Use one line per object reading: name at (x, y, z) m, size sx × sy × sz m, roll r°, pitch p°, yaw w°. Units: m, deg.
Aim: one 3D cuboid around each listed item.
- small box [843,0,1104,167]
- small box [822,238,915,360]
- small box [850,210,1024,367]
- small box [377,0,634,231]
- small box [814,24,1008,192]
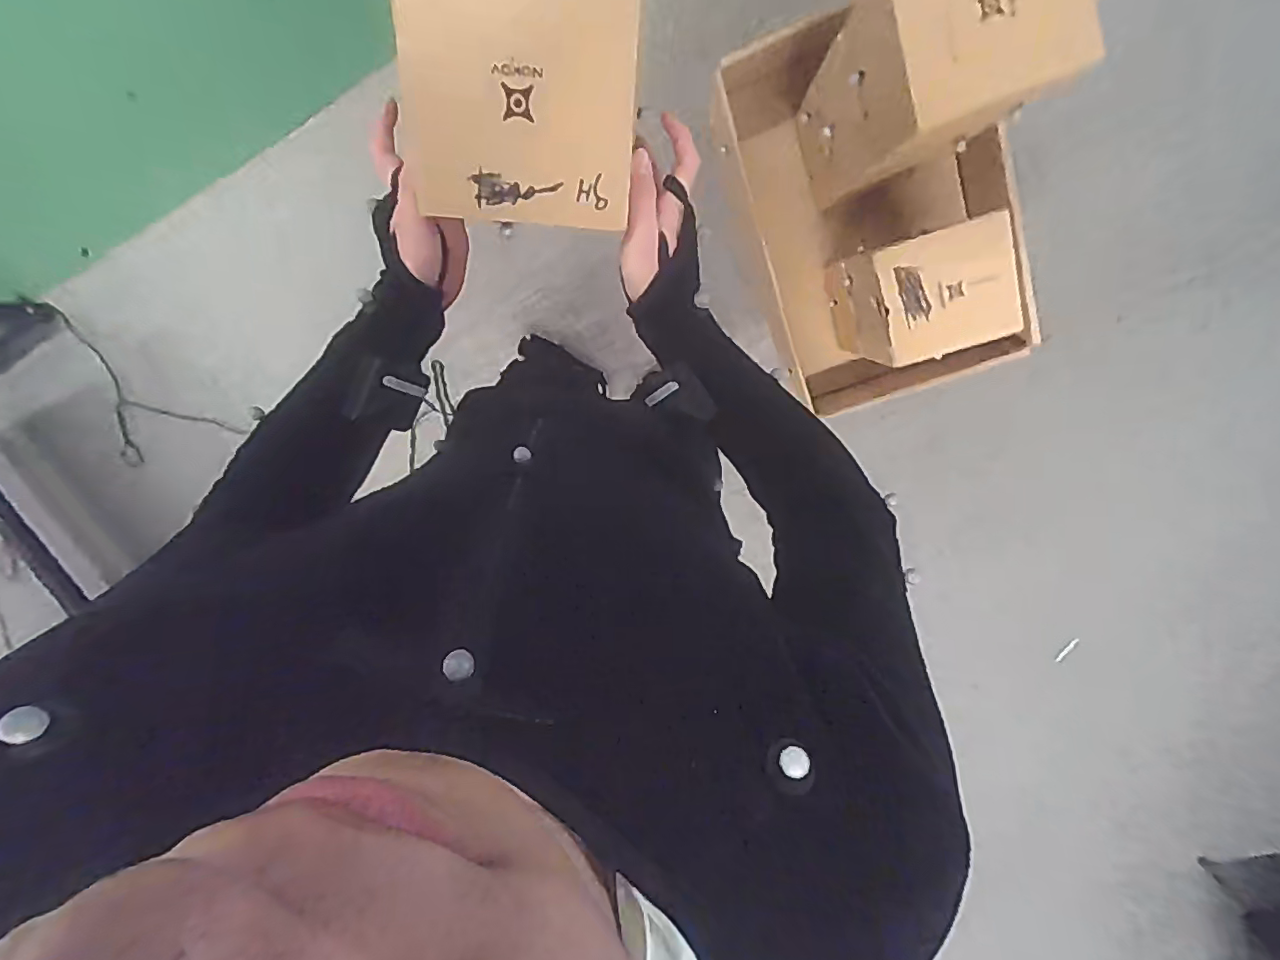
small box at (0.343, -0.473, 0.585) m, size 0.179 × 0.176 × 0.168 m, roll -17°, pitch 104°, yaw 11°
small box at (0.446, -0.328, 0.967) m, size 0.179 × 0.176 × 0.168 m, roll -16°, pitch 105°, yaw 12°
small box at (0.429, -0.278, 0.811) m, size 0.179 × 0.176 × 0.168 m, roll -16°, pitch 106°, yaw 11°
small box at (-0.093, -0.313, 0.440) m, size 0.168 × 0.176 × 0.179 m, roll 4°, pitch 120°, yaw -2°
small box at (0.359, -0.523, 0.739) m, size 0.179 × 0.176 × 0.168 m, roll -18°, pitch 105°, yaw 11°
